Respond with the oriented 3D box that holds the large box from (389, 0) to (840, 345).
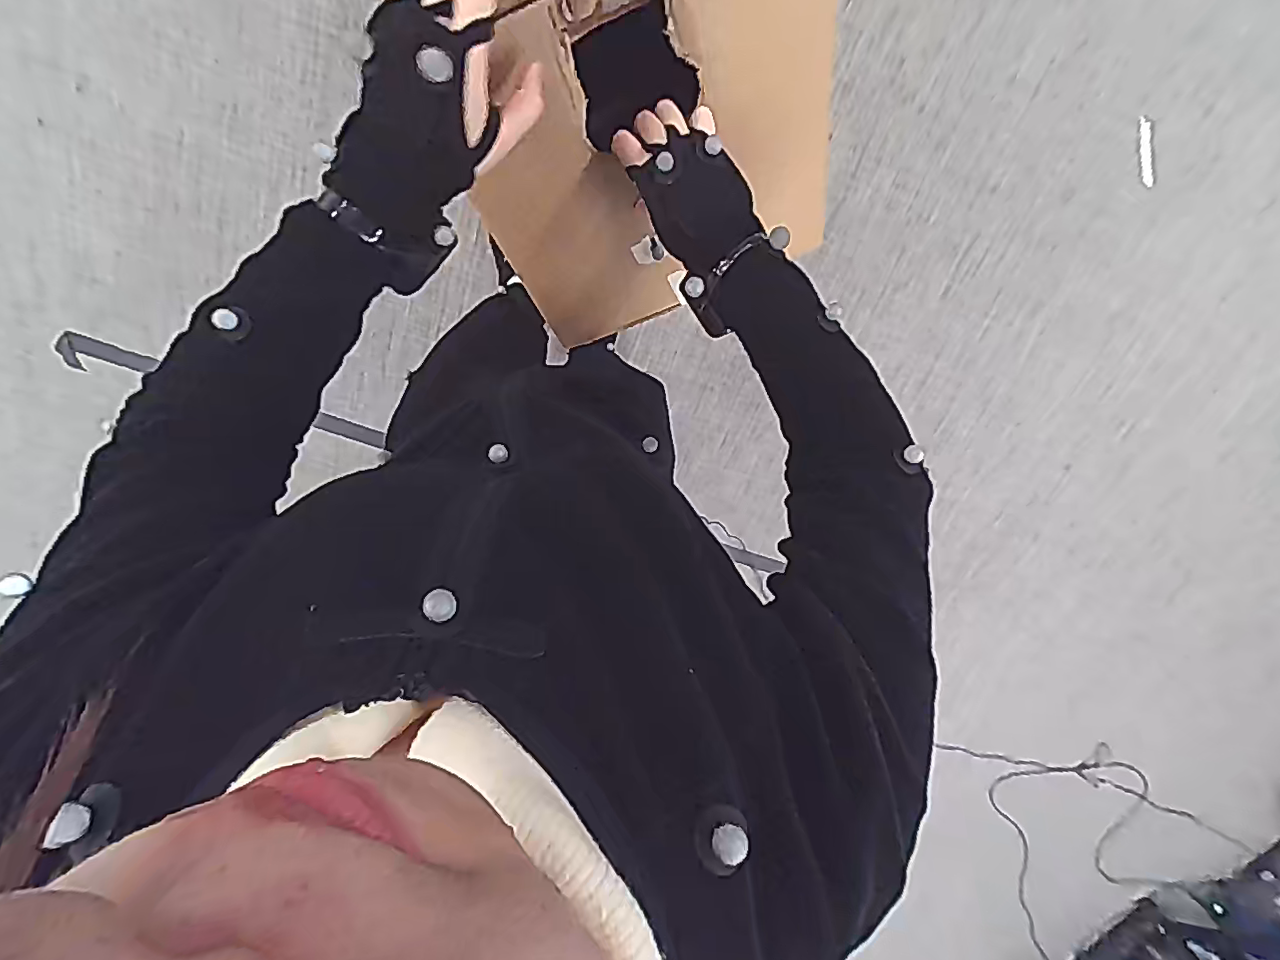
[{"bbox_3d":[-0.027,-0.425,0.555,0.320,0.408,0.320,-20,152,7],"label":"large box"}]
